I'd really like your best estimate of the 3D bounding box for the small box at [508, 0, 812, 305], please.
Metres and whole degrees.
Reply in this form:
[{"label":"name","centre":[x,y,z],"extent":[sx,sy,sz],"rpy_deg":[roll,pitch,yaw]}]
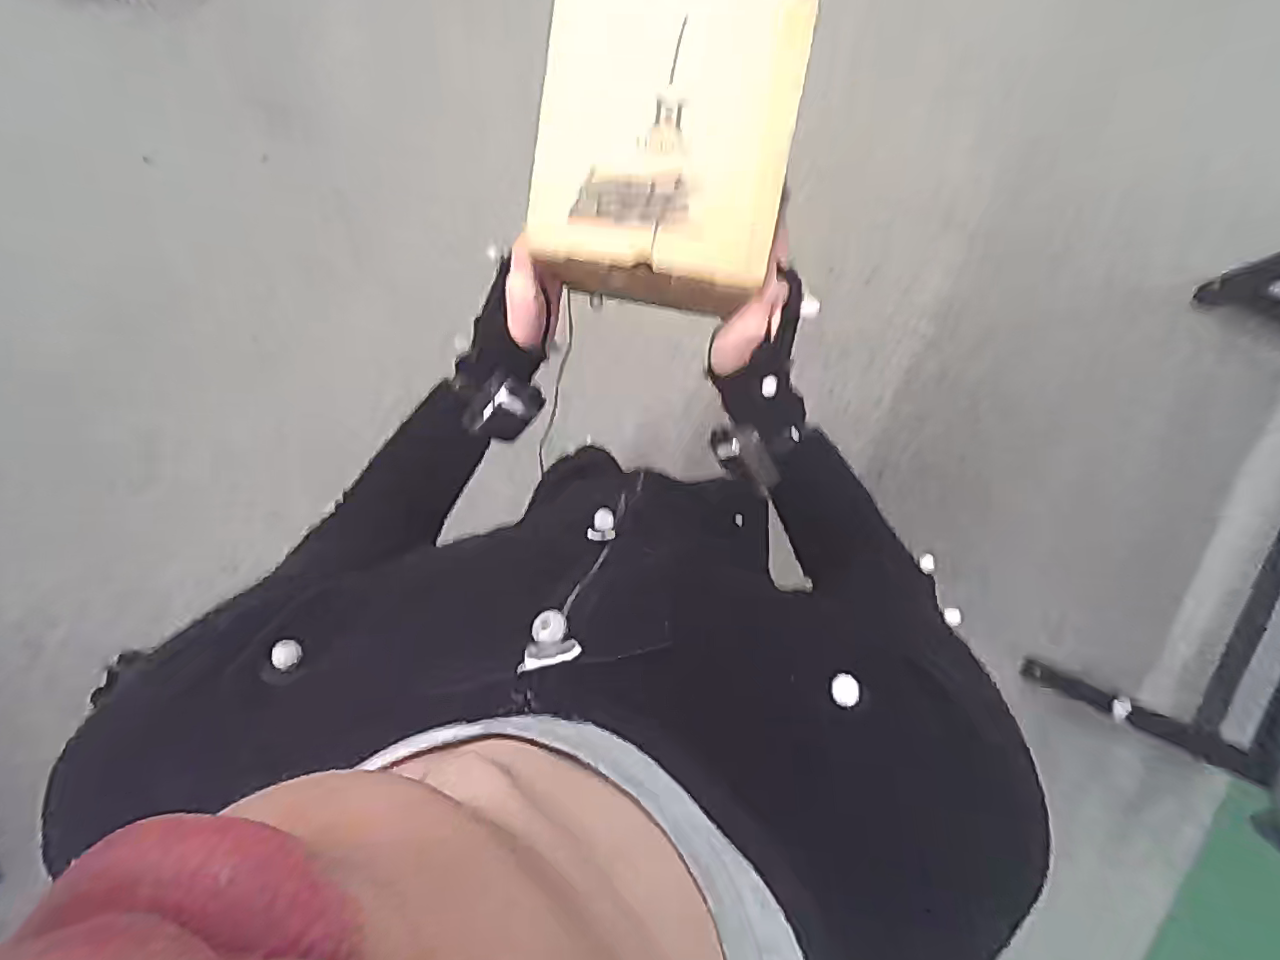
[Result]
[{"label":"small box","centre":[0.014,-0.239,0.412],"extent":[0.168,0.176,0.179],"rpy_deg":[11,103,2]}]
